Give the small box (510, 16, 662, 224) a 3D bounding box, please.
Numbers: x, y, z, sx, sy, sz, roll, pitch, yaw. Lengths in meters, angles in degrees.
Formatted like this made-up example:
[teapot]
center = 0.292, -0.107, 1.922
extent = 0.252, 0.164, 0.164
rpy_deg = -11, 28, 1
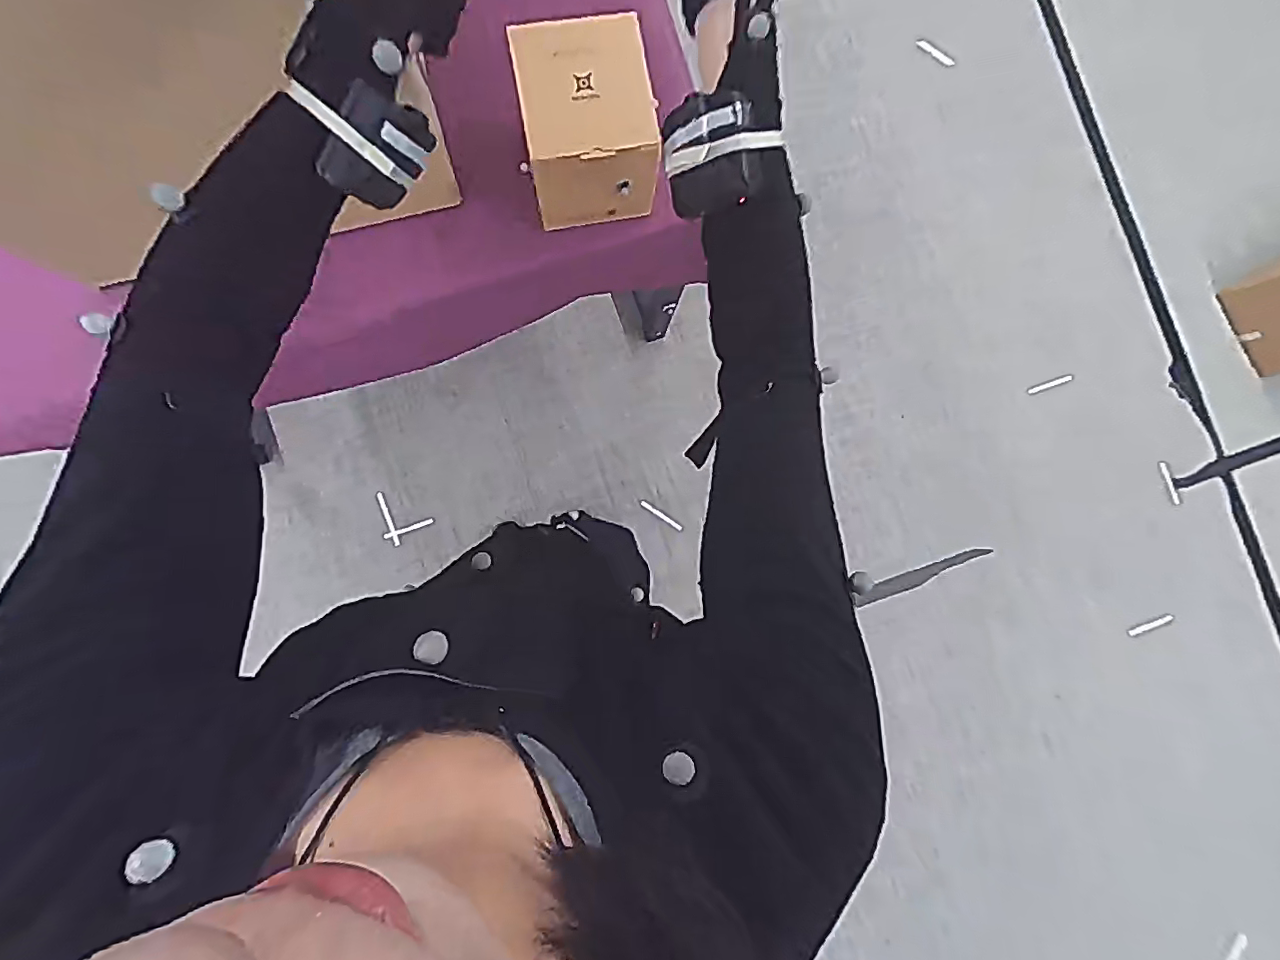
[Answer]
[small box]
center = -0.072, -0.477, 0.745
extent = 0.168, 0.176, 0.179
rpy_deg = -11, 87, -6
